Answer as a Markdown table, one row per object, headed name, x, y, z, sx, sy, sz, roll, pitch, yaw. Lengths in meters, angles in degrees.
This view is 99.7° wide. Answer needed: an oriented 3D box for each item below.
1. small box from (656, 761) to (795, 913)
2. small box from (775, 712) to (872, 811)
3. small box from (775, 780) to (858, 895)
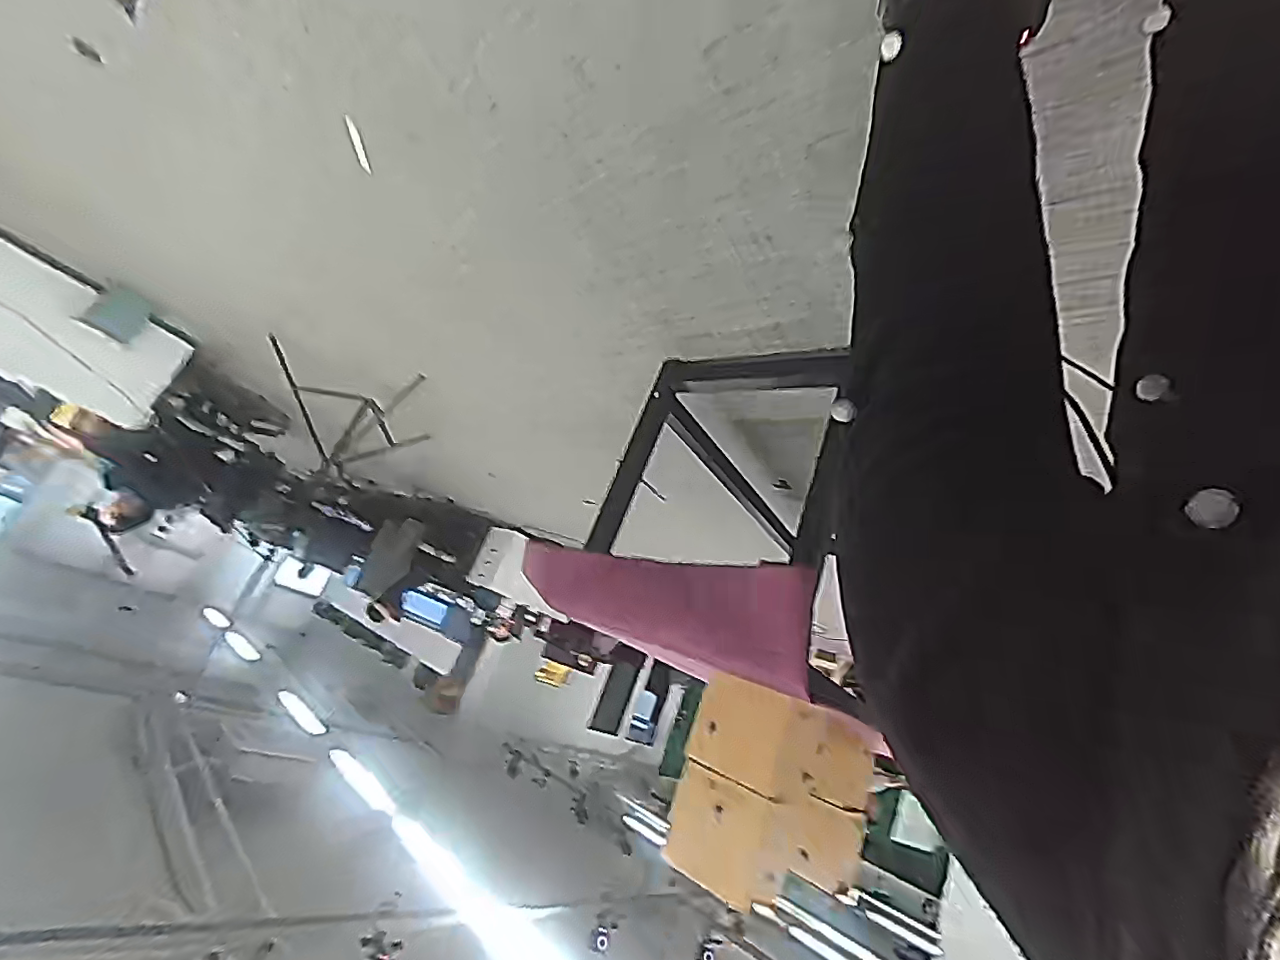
| name | x | y | z | sx | sy | sz | roll | pitch | yaw |
| --- | --- | --- | --- | --- | --- | --- | --- | --- | --- |
| small box | 0.162 | 0.630 | 0.976 | 0.168 | 0.176 | 0.179 | 7 | 157 | 38 |
| small box | 0.458 | 0.690 | 1.337 | 0.168 | 0.176 | 0.179 | 5 | 155 | 40 |
| small box | 0.403 | 0.834 | 1.278 | 0.179 | 0.176 | 0.168 | 7 | 157 | 39 |
